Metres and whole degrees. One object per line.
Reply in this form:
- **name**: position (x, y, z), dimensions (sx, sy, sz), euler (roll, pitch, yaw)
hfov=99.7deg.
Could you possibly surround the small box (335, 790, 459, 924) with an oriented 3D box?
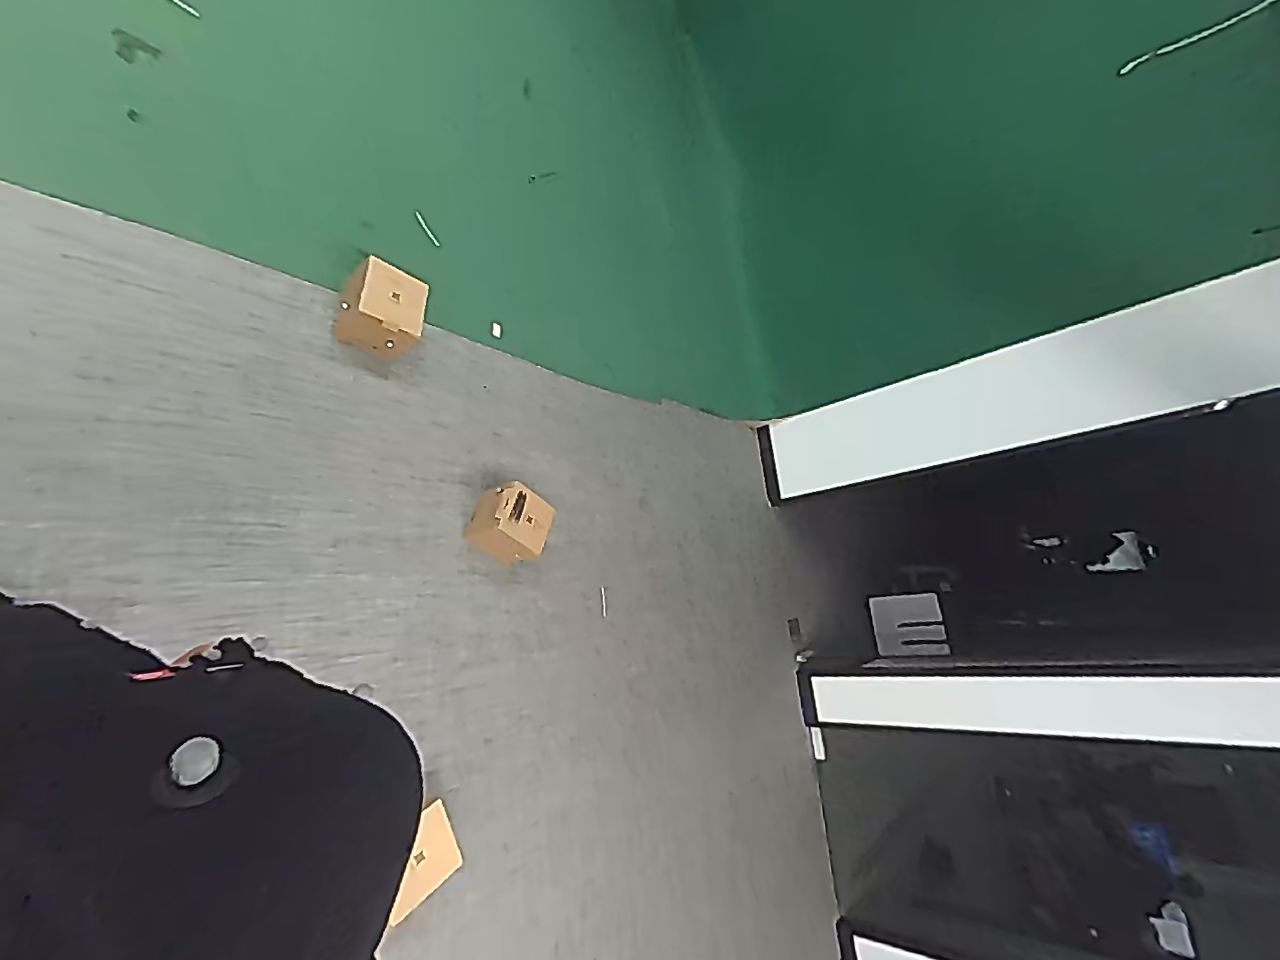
- **small box**: position (-0.549, 0.837, 1.224), dimensions (0.179, 0.176, 0.168), euler (-22, 94, -51)

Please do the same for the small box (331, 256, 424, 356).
- **small box**: position (-0.720, -0.465, 1.479), dimensions (0.168, 0.176, 0.179), euler (21, 61, -47)
